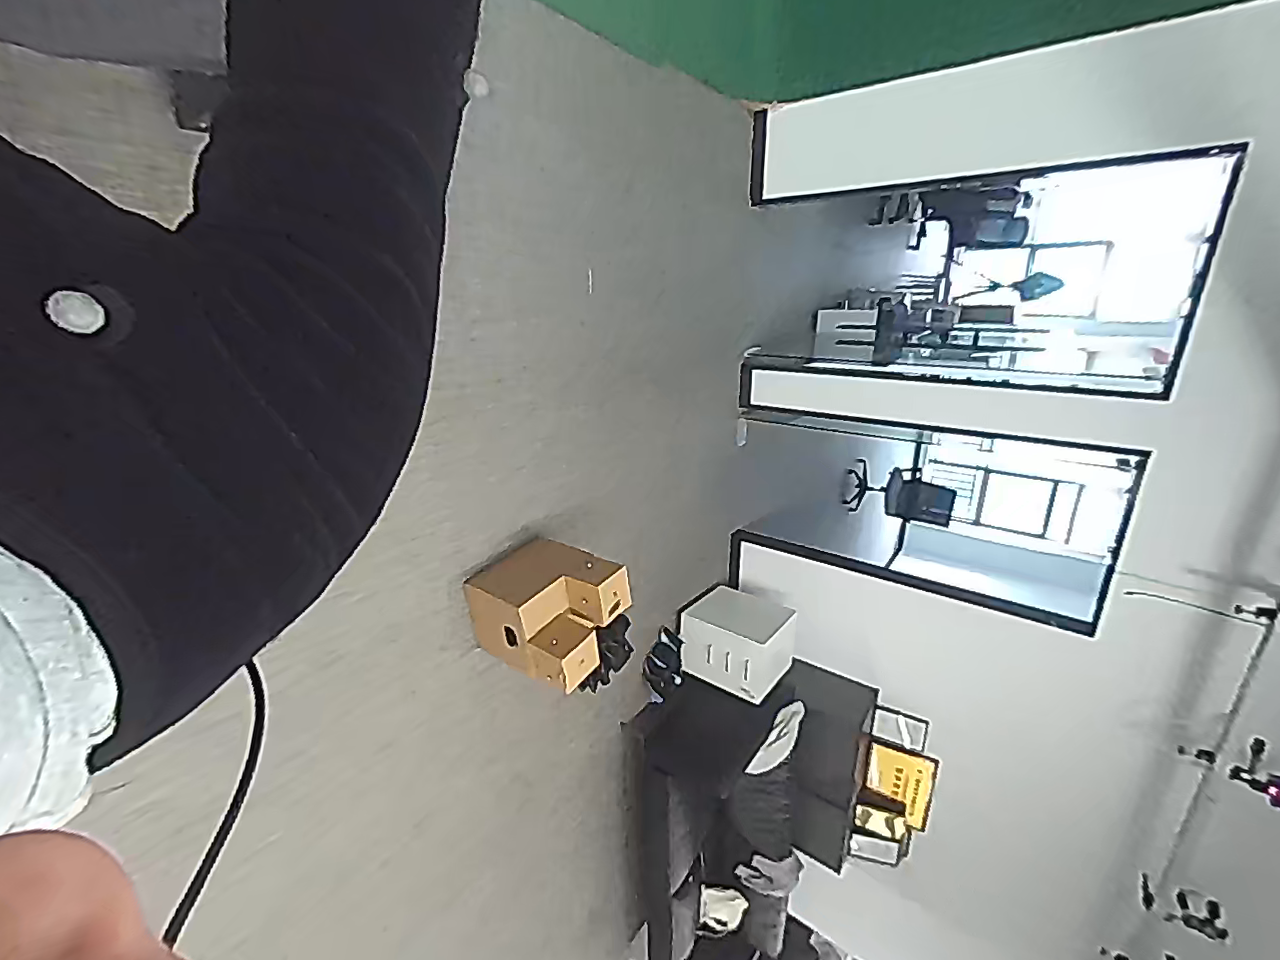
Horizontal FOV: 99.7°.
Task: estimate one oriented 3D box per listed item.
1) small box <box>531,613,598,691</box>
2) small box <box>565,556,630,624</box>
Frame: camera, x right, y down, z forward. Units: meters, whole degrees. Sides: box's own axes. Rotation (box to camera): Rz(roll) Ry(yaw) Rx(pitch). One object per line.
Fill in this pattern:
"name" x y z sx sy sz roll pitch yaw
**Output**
"small box" -0.275 0.611 1.940 0.179 0.176 0.168 -37 132 -45
"small box" -0.162 0.408 2.034 0.168 0.176 0.179 -31 122 -47
